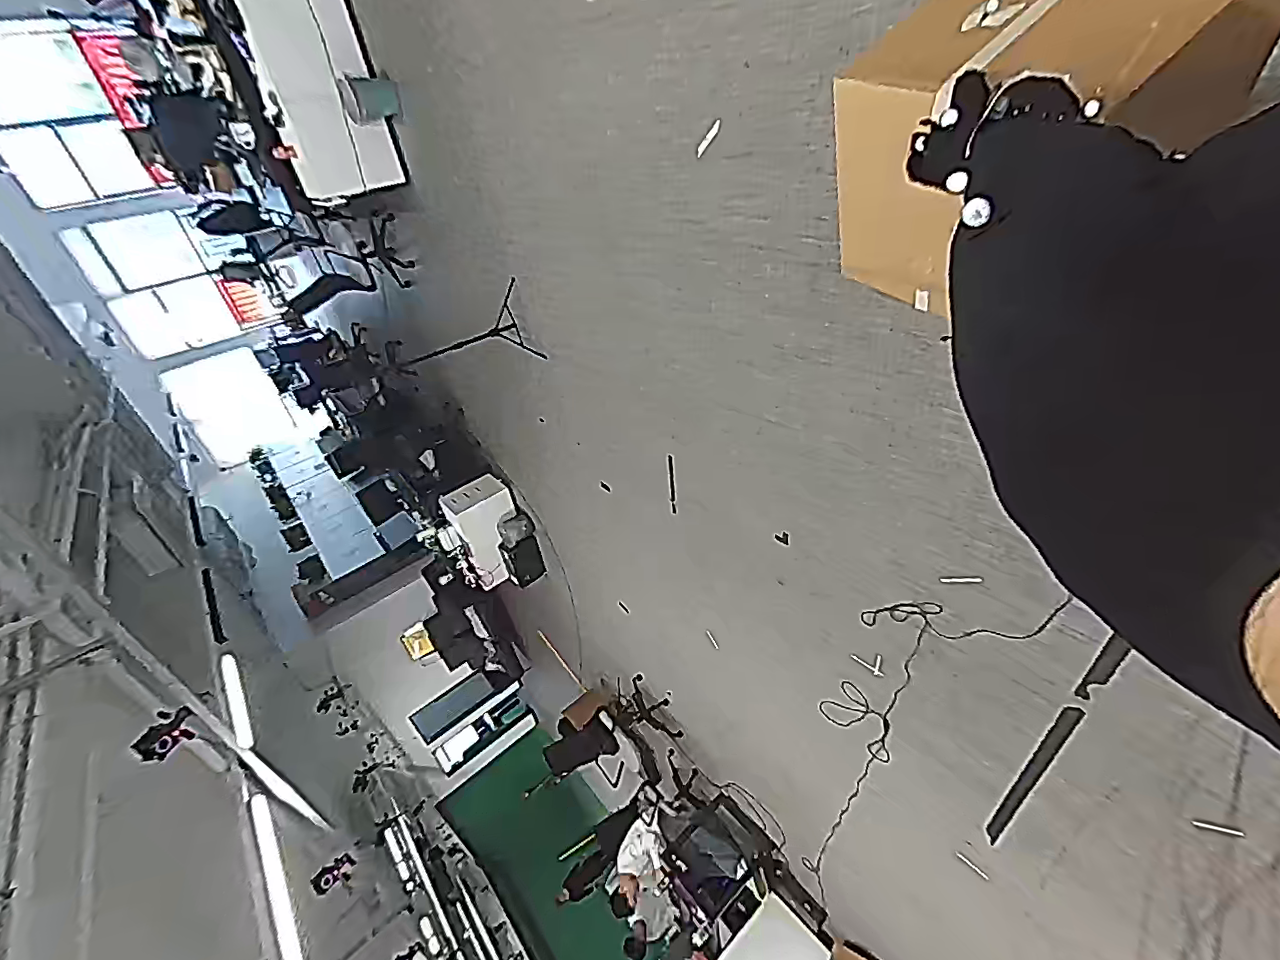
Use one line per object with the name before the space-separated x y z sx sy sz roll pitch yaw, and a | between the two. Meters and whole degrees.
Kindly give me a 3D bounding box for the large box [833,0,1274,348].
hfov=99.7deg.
large box | 0.531 -0.469 0.750 0.320 0.408 0.320 43 173 37
